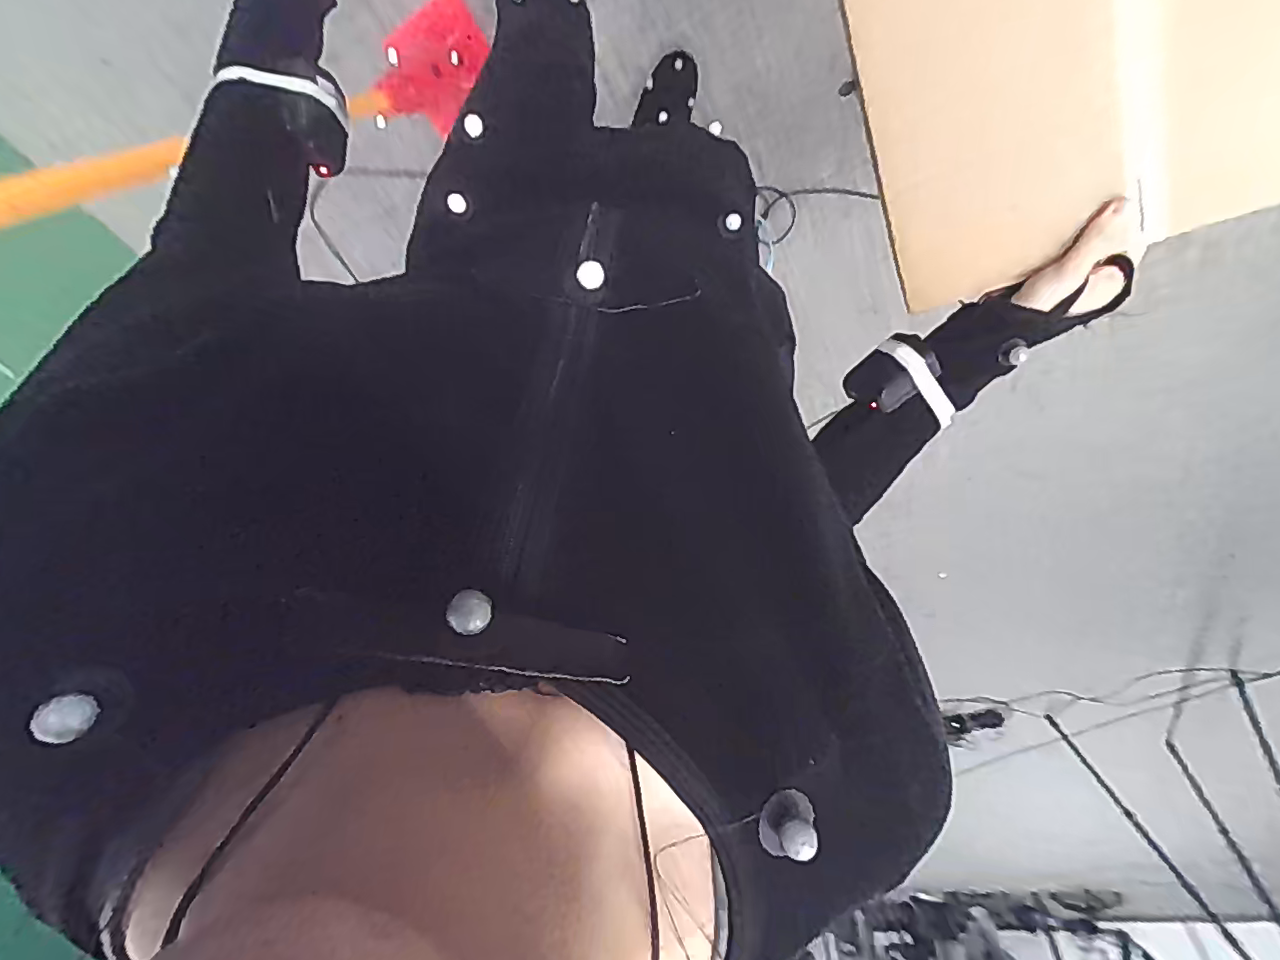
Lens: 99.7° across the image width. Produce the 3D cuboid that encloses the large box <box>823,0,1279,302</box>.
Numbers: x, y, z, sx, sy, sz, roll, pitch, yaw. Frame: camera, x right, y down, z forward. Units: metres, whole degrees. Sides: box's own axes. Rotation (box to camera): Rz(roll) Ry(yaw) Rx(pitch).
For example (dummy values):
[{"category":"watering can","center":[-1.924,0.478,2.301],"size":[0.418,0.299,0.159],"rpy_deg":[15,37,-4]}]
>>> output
[{"category":"large box","center":[0.339,-0.423,0.462],"size":[0.320,0.320,0.408],"rpy_deg":[-11,113,28]}]
